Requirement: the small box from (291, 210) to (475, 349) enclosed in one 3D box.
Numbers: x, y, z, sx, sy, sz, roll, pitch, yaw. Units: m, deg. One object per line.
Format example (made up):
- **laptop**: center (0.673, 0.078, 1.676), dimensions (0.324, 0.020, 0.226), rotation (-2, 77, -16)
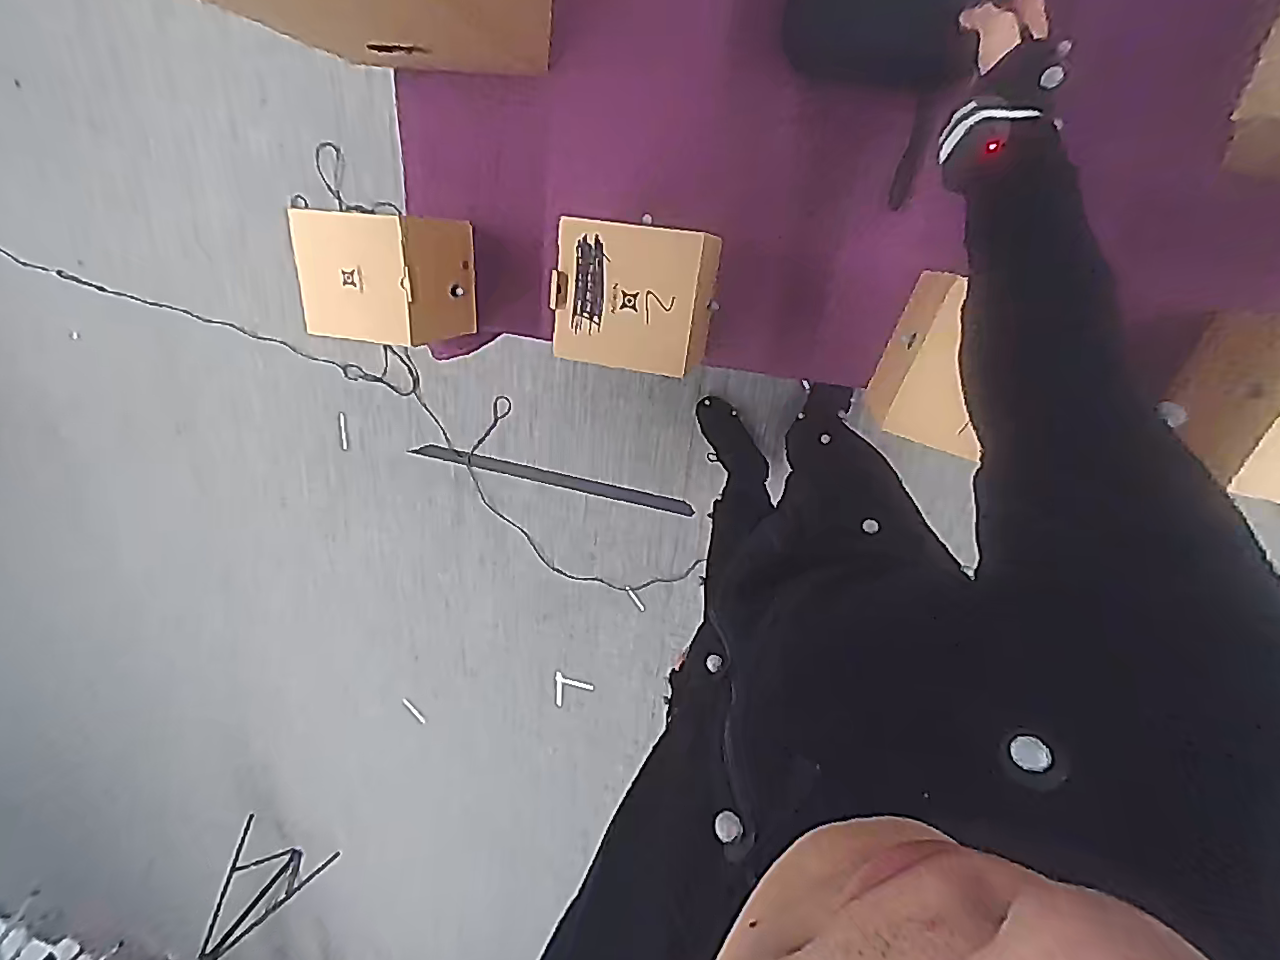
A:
- **small box**: center (-0.367, -0.297, 0.803), dimensions (0.179, 0.176, 0.168), rotation (9, 113, 11)
